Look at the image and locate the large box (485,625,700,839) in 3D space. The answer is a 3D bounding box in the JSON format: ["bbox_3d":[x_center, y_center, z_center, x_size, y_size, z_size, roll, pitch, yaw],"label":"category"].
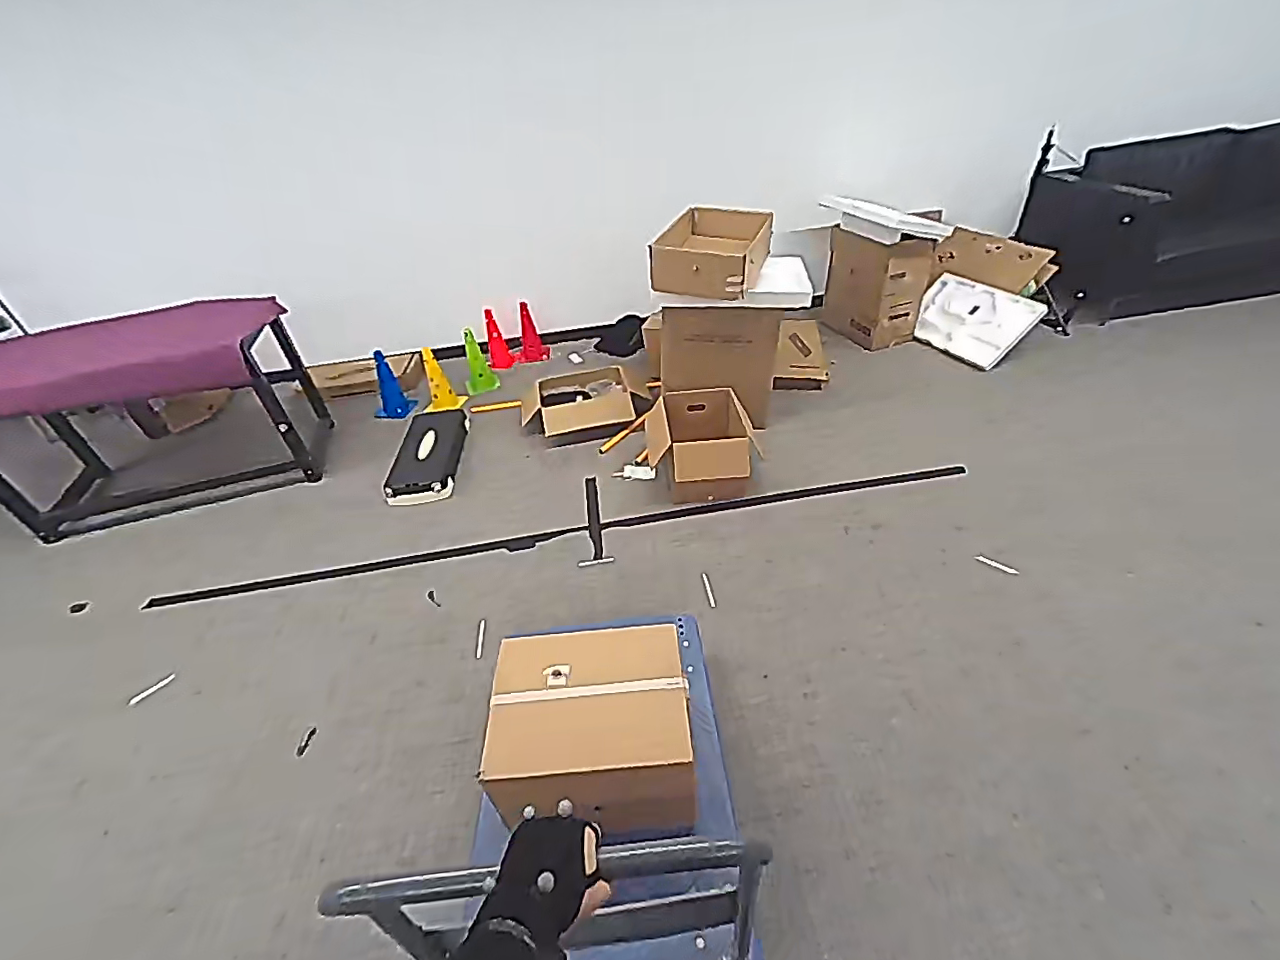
[{"bbox_3d":[-0.090,0.569,1.224,0.408,0.320,0.320,-7,37,1],"label":"large box"}]
